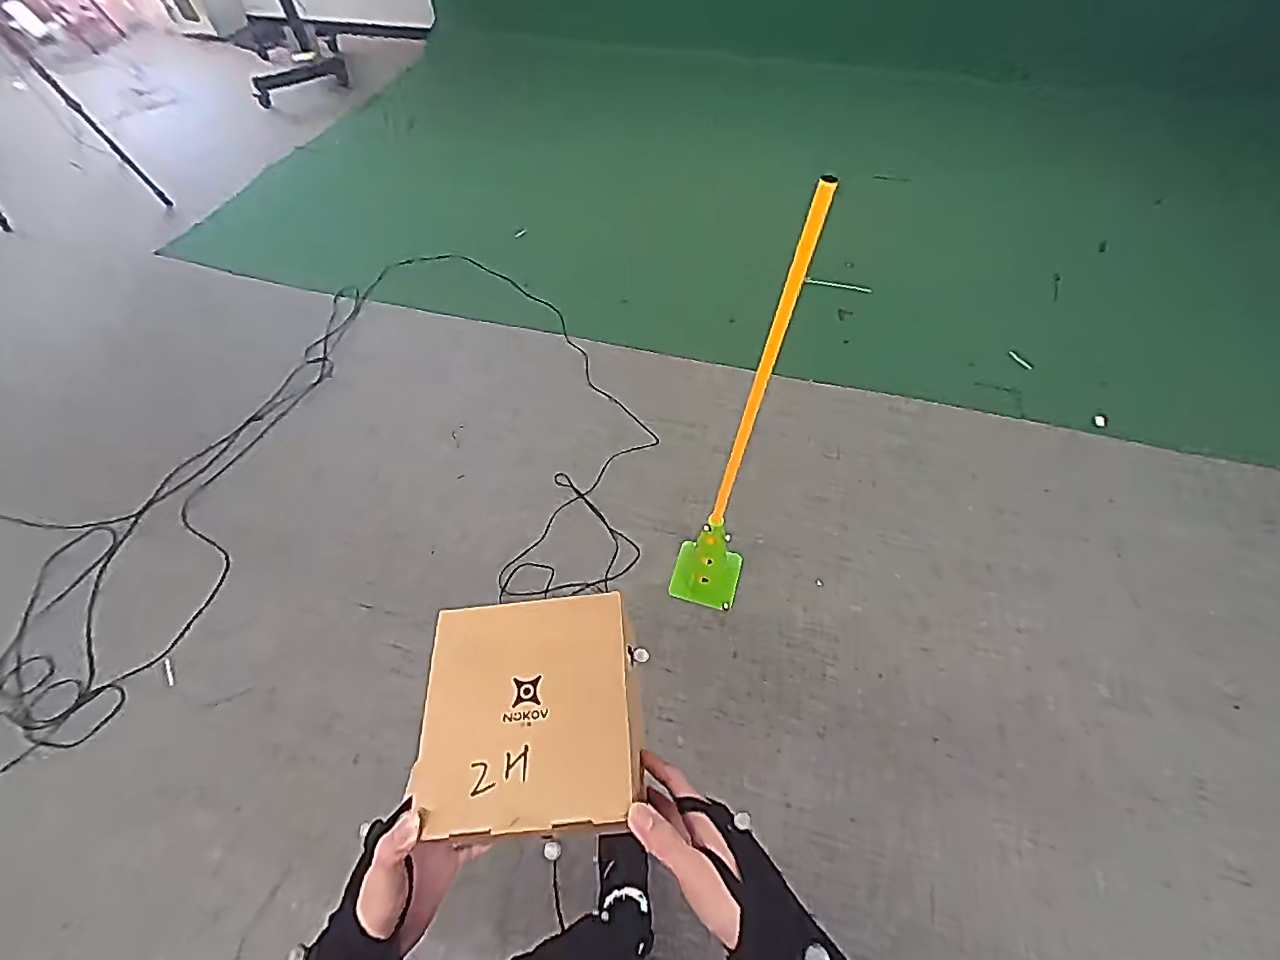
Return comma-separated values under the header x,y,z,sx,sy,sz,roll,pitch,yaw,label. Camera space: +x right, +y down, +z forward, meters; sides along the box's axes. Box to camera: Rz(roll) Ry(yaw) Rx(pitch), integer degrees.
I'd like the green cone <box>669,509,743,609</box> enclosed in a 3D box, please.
x,y,z,sx,sy,sz,roll,pitch,yaw,label
0.202,0.192,1.546,0.202,0.368,0.200,13,56,12,green cone
